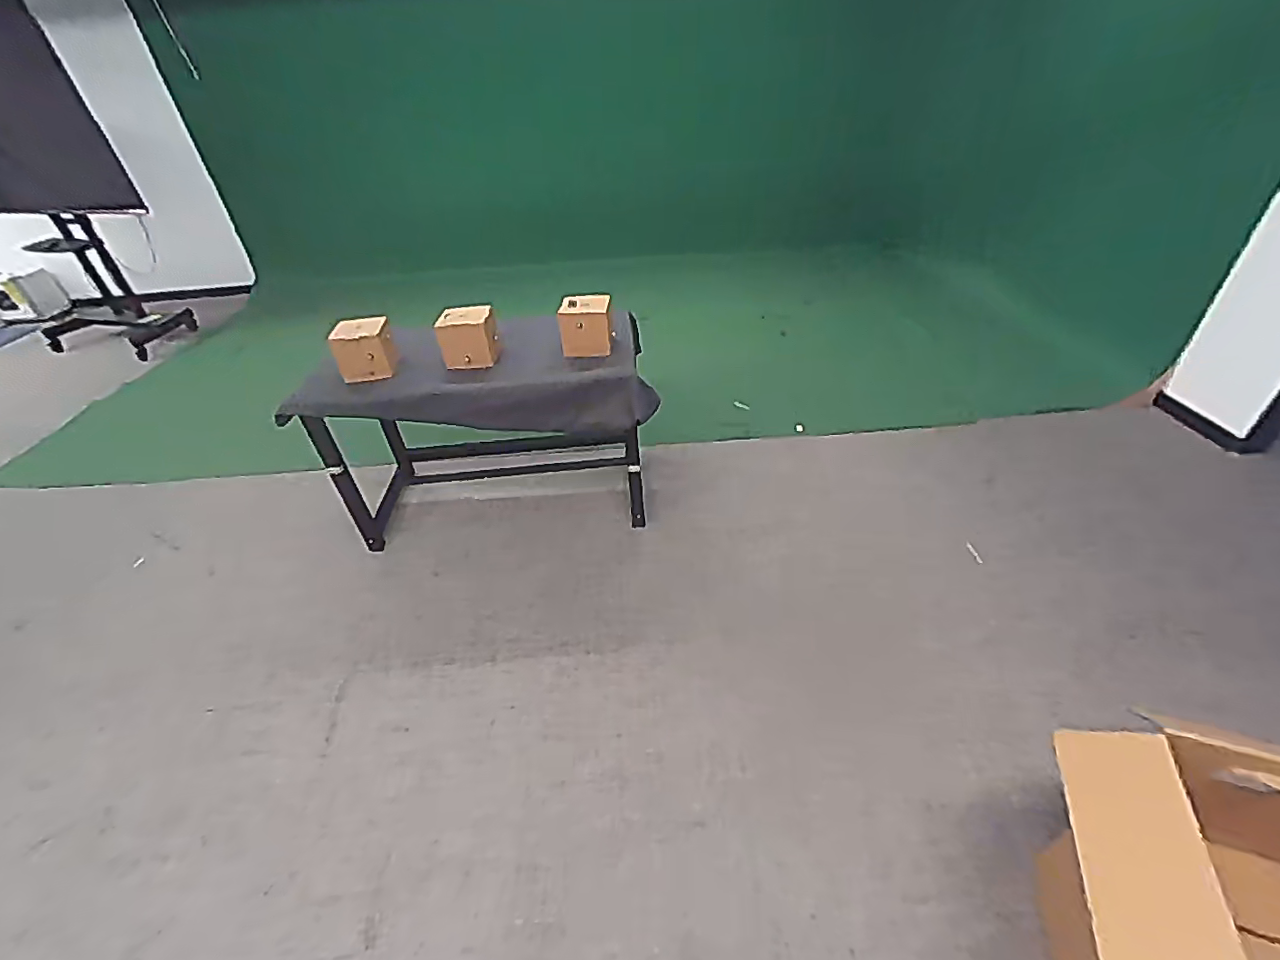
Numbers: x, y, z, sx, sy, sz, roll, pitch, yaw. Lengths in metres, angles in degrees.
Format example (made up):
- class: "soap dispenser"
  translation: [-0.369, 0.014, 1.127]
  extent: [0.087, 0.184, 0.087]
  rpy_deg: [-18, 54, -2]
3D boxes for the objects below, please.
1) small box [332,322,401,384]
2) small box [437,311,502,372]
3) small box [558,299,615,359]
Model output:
- class: "small box"
  translation: [-0.986, -0.457, 1.967]
  extent: [0.168, 0.176, 0.179]
  rpy_deg: [-8, 36, -8]
- class: "small box"
  translation: [-0.621, -0.510, 1.994]
  extent: [0.179, 0.176, 0.168]
  rpy_deg: [-3, 37, 1]
- class: "small box"
  translation: [-0.192, -0.558, 2.005]
  extent: [0.179, 0.176, 0.168]
  rpy_deg: [-1, 38, 5]
